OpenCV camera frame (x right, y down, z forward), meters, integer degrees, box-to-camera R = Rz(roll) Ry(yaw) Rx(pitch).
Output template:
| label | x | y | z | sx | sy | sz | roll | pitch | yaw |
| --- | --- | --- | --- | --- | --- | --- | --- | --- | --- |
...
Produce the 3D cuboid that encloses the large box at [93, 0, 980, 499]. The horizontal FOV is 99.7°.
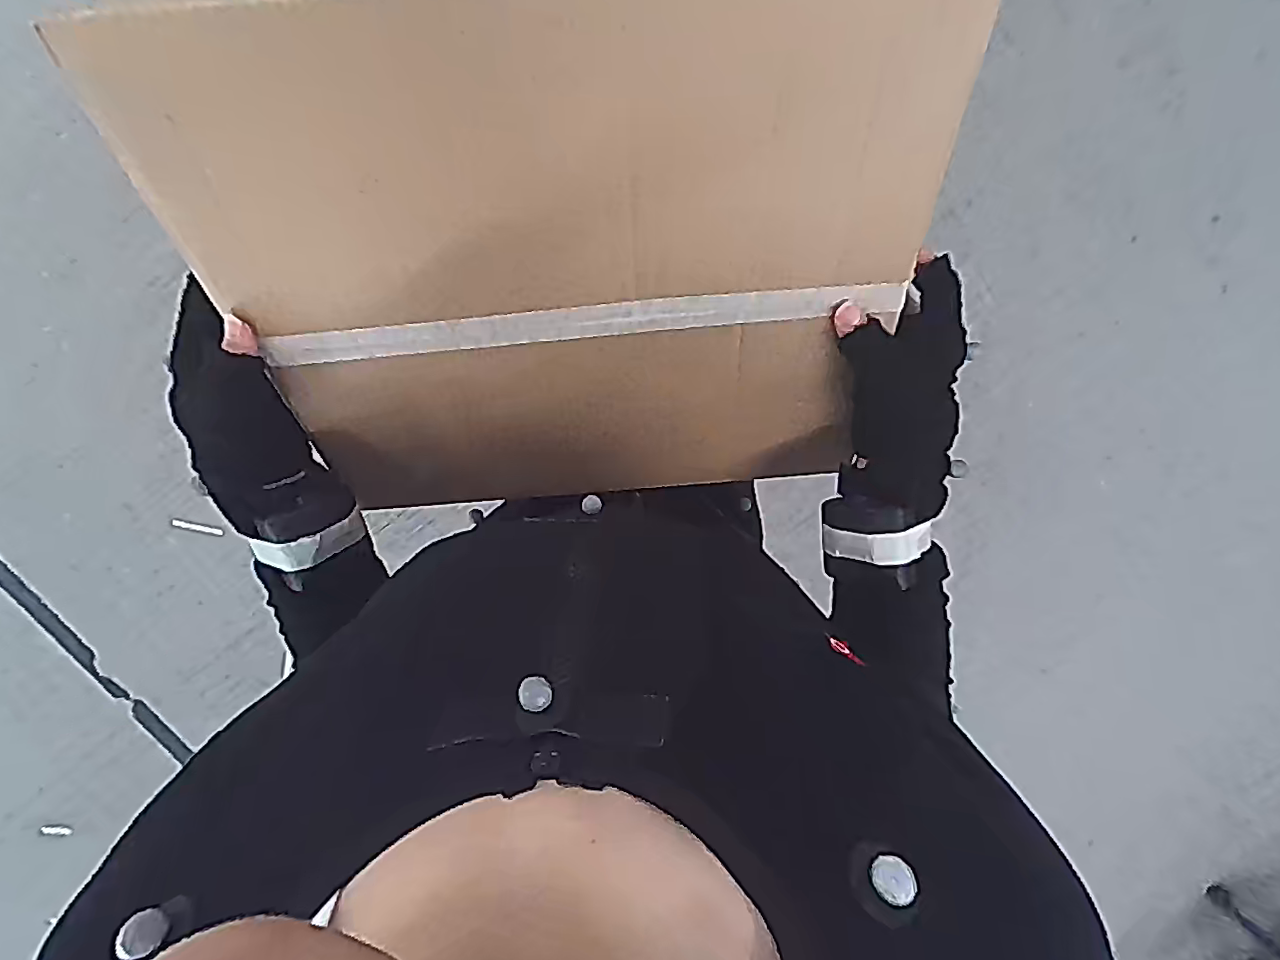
| label | x | y | z | sx | sy | sz | roll | pitch | yaw |
| --- | --- | --- | --- | --- | --- | --- | --- | --- | --- |
| large box | -0.047 | -0.213 | 0.443 | 0.408 | 0.320 | 0.320 | -5 | 138 | 0 |
